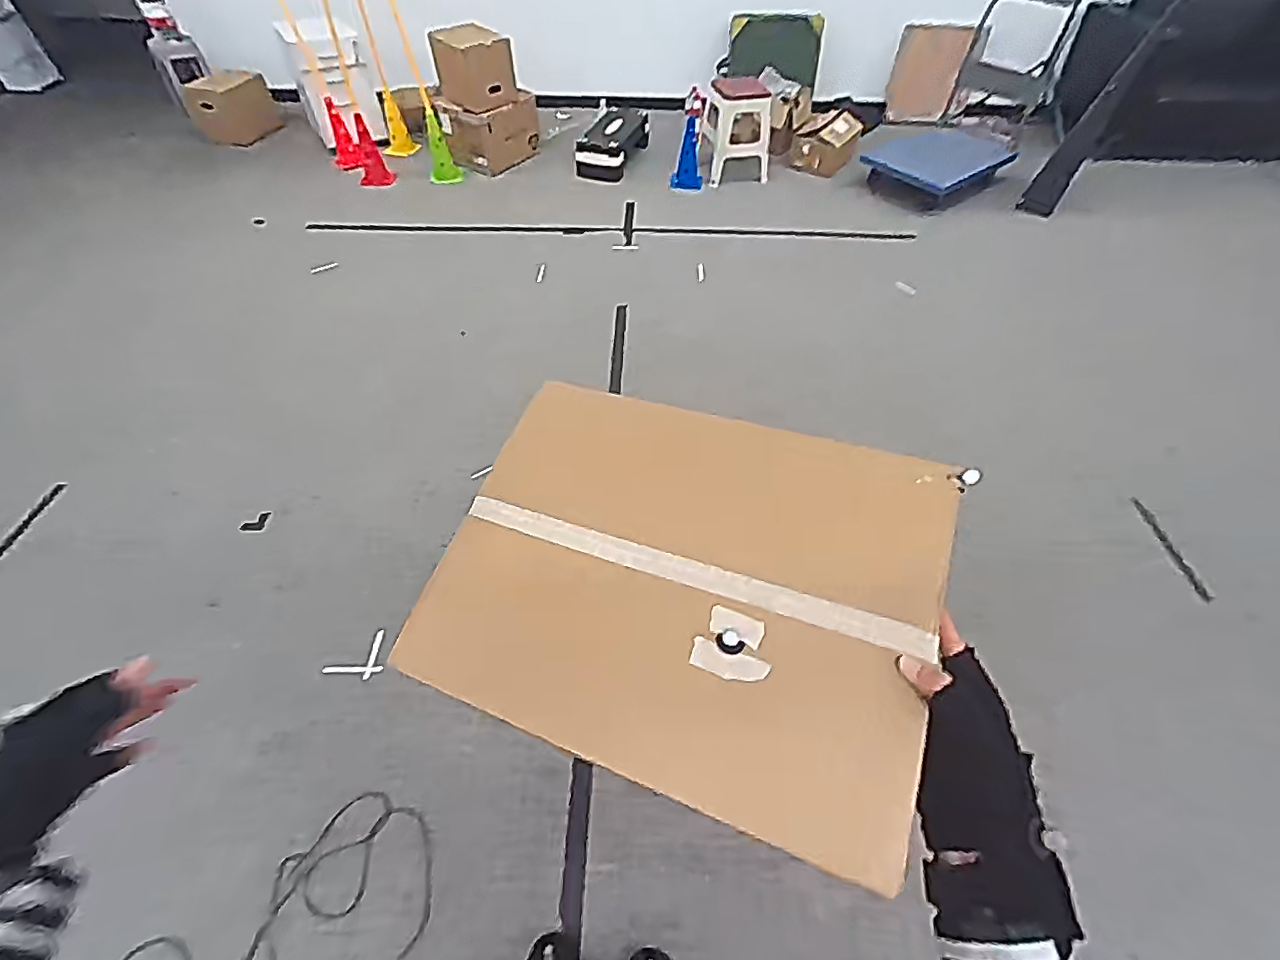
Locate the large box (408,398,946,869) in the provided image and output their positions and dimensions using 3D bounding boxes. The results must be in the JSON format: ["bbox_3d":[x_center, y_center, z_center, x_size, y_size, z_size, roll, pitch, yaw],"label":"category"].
[{"bbox_3d":[0.055,0.153,0.595,0.408,0.320,0.320,15,65,19],"label":"large box"}]
